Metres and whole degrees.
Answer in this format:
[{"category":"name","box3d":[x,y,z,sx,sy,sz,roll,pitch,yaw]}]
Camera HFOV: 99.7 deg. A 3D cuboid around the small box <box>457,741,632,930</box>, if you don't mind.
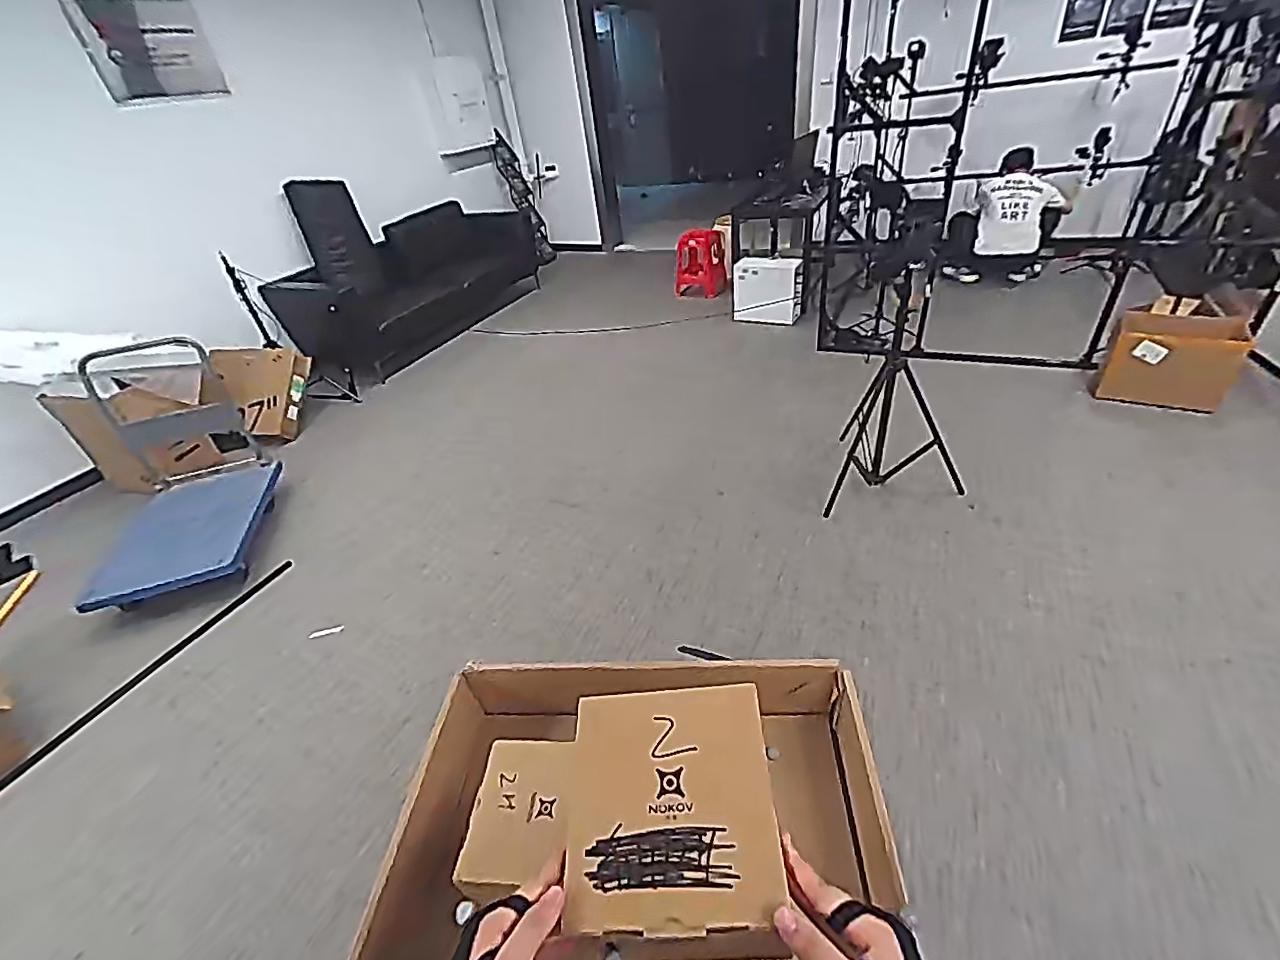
[{"category":"small box","box3d":[-0.110,0.473,0.722,0.179,0.176,0.168,-3,37,9]}]
